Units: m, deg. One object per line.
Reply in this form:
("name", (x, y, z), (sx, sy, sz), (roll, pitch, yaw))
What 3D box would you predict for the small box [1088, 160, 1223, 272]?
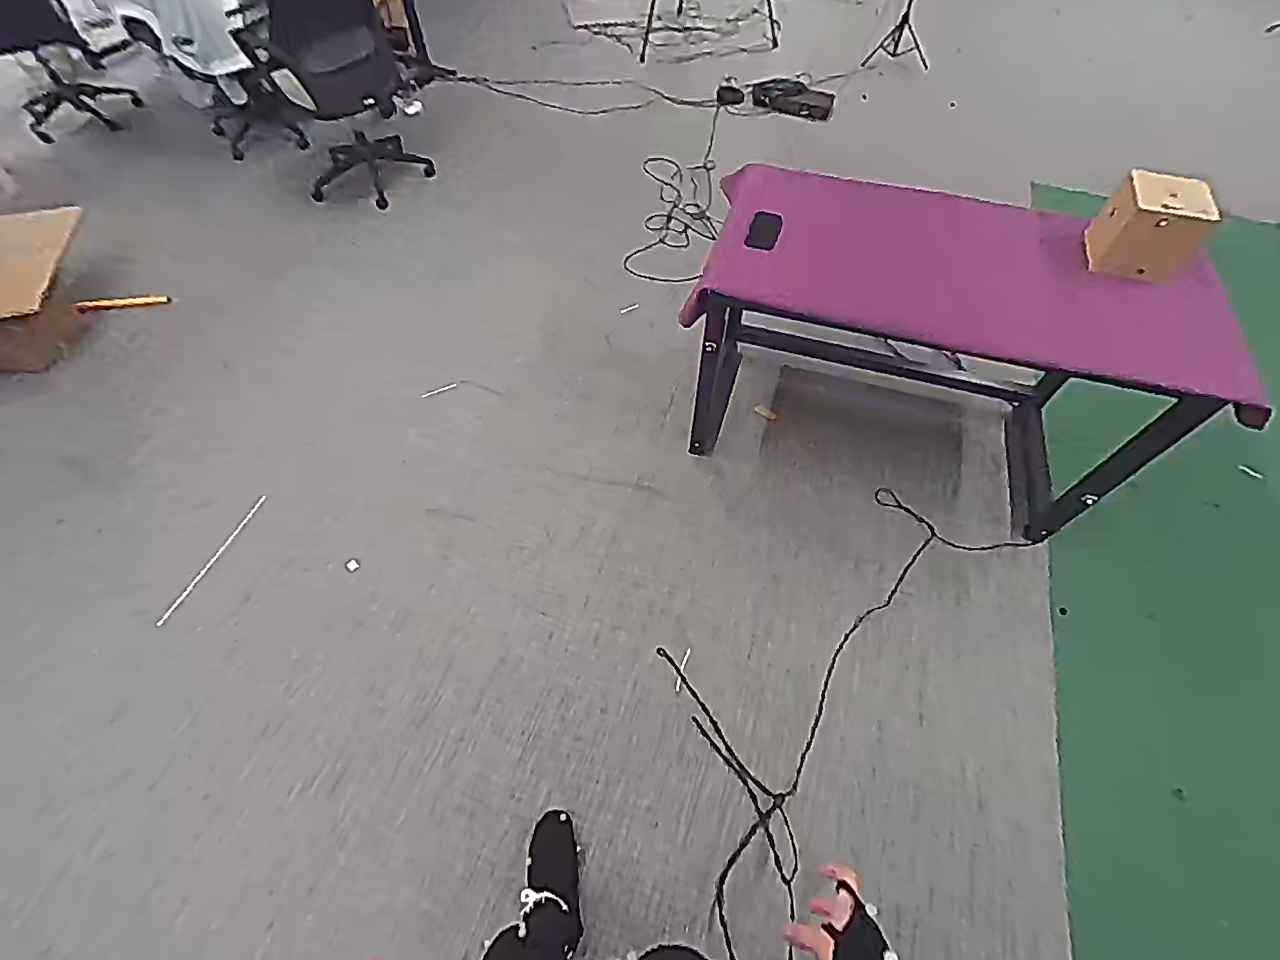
("small box", (1.226, -0.635, 1.306), (0.168, 0.176, 0.179), (15, 58, 12))
